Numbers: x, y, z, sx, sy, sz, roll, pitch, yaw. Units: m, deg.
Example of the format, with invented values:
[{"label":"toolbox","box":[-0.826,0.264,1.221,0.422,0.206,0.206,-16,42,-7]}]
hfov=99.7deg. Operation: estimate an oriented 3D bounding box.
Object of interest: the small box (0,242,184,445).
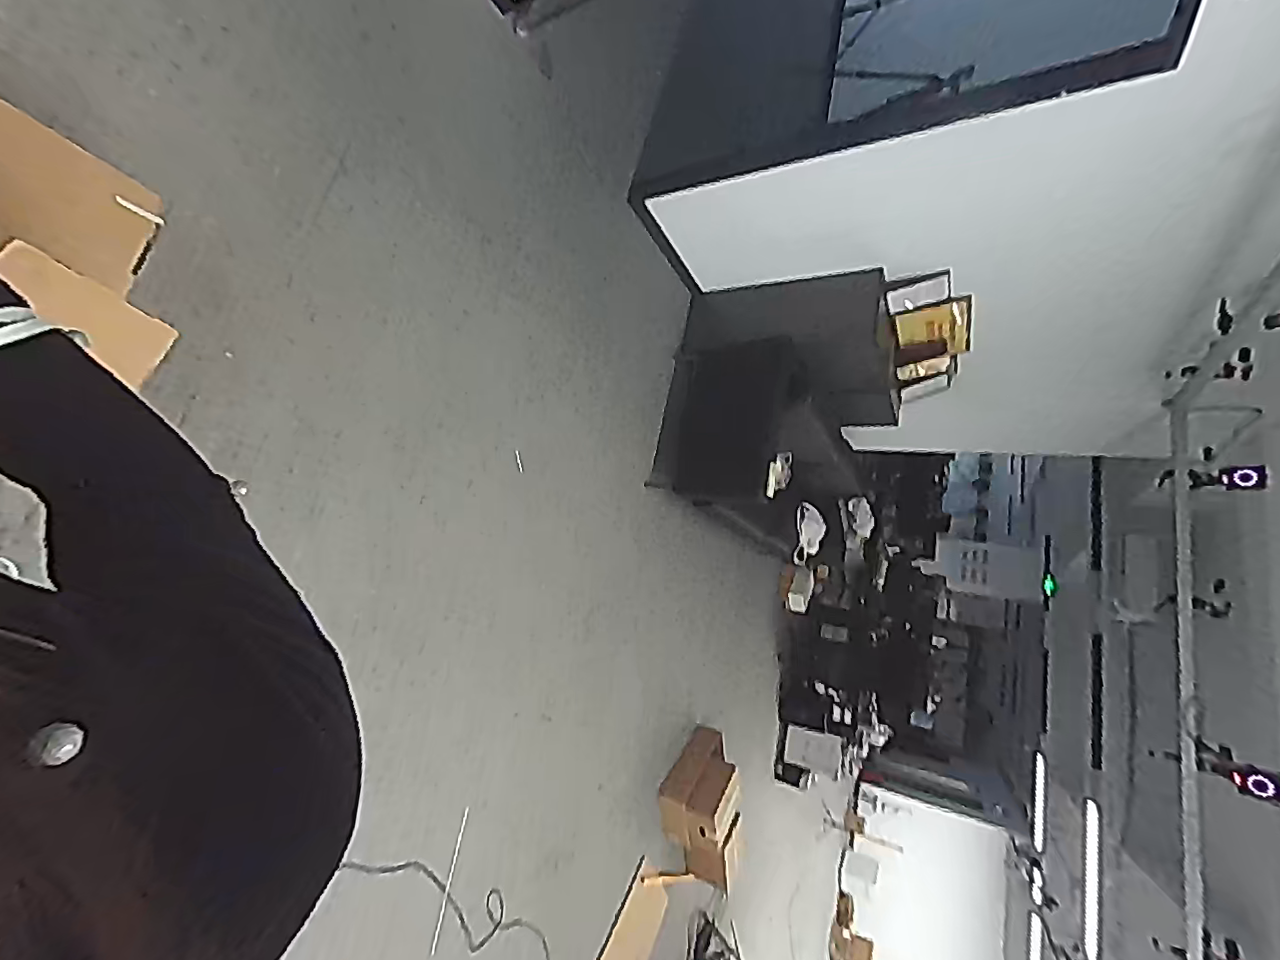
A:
[{"label":"small box","box":[-0.736,-0.158,0.671,0.168,0.176,0.179,45,55,-51]}]
